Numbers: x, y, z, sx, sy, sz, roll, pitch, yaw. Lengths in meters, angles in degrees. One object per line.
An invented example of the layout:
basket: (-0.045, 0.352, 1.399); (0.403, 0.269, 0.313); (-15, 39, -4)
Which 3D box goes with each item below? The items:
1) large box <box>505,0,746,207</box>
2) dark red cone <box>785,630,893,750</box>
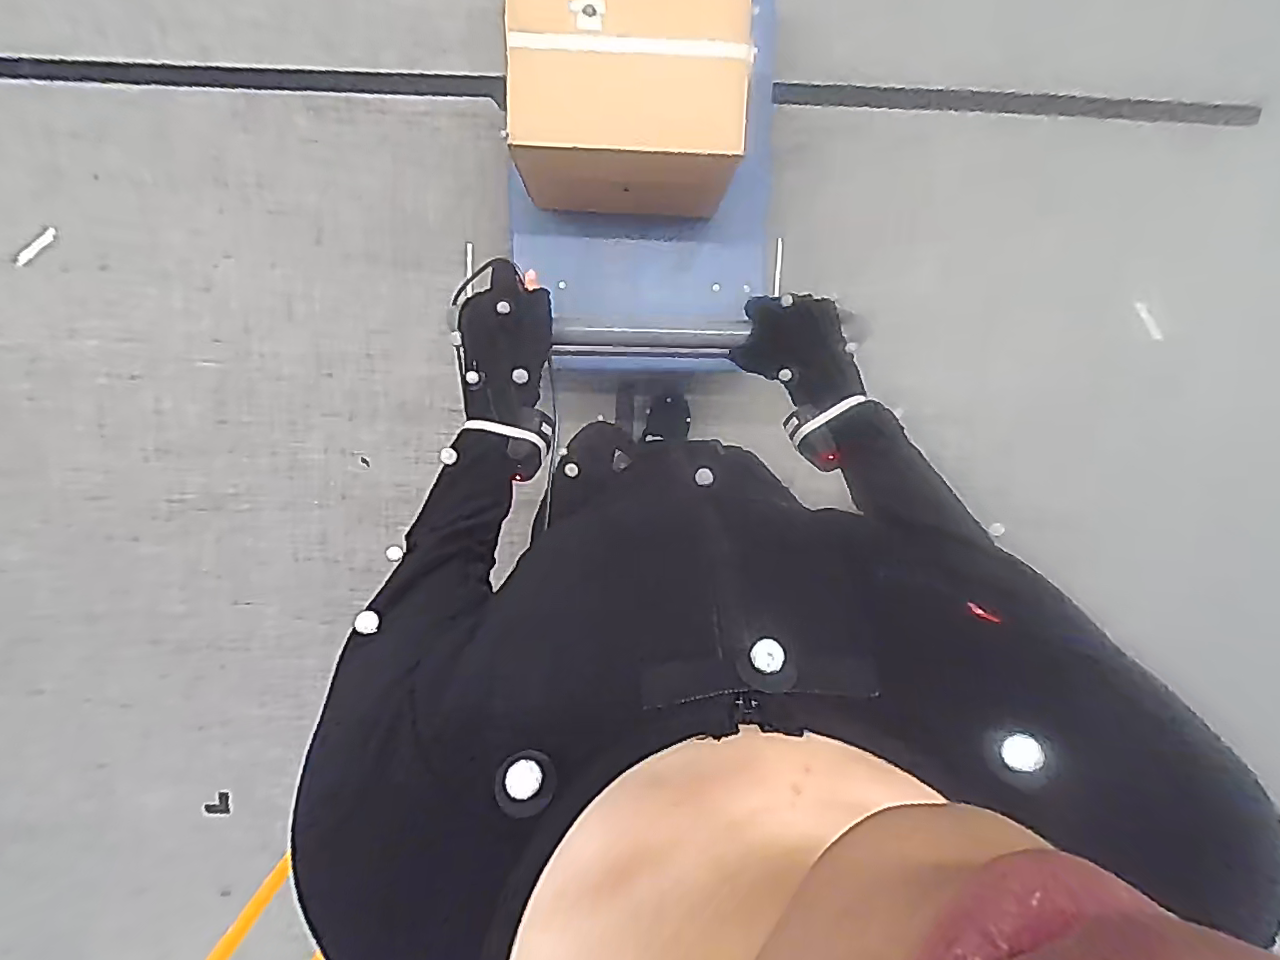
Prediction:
large box: (-0.025, -0.741, 1.044); (0.408, 0.320, 0.320); (1, 98, -1)
dark red cone: (0.519, 0.545, 1.362); (0.201, 0.394, 0.202); (2, 98, -4)
